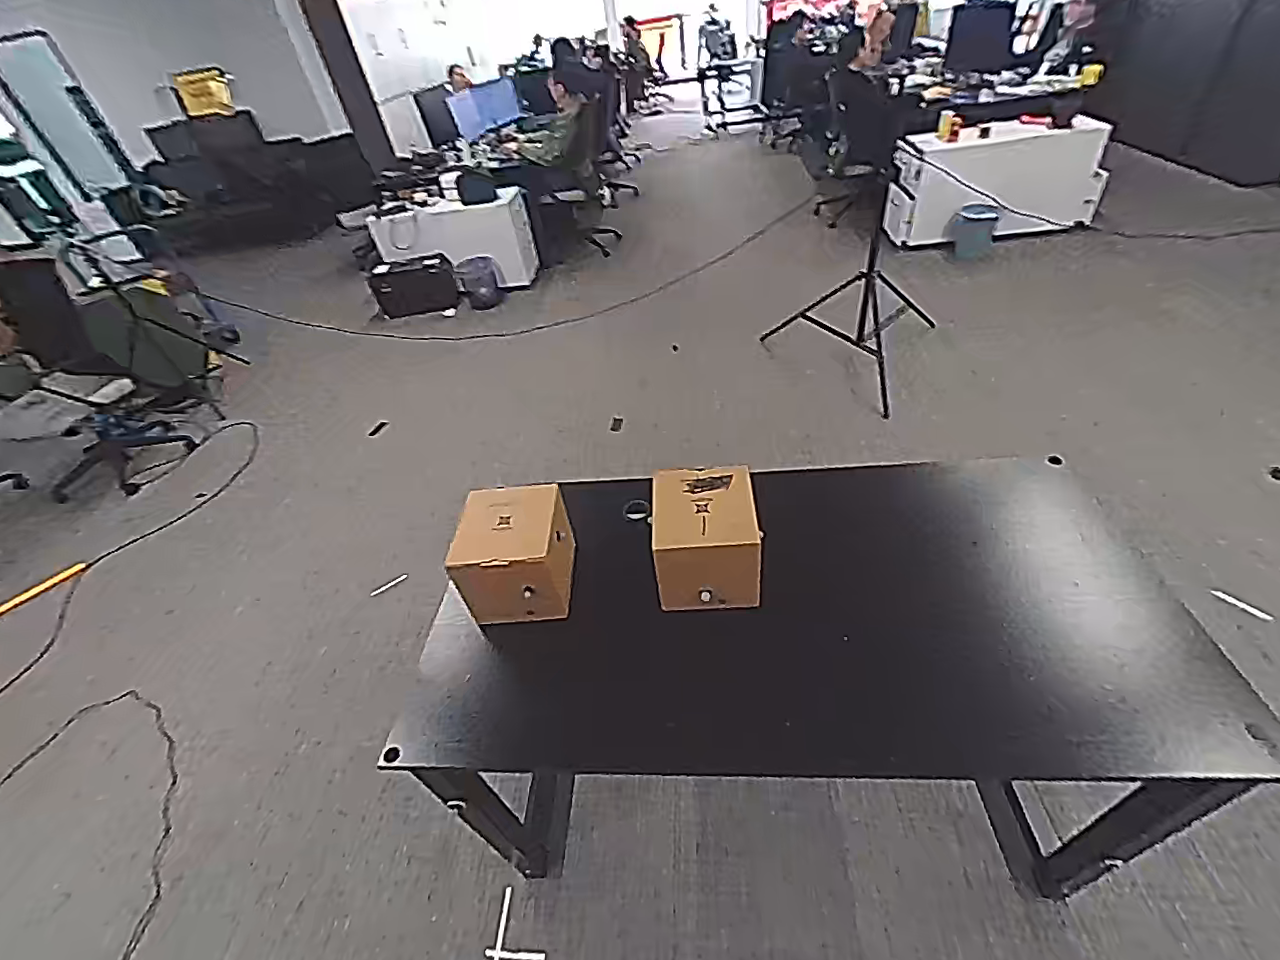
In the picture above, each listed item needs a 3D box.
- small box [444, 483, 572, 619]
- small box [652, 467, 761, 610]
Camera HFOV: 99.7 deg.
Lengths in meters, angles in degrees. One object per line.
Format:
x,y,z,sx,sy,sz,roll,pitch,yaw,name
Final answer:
-0.219,0.130,0.951,0.168,0.176,0.179,-5,41,3,small box
0.111,0.100,0.922,0.168,0.176,0.179,-4,43,6,small box
